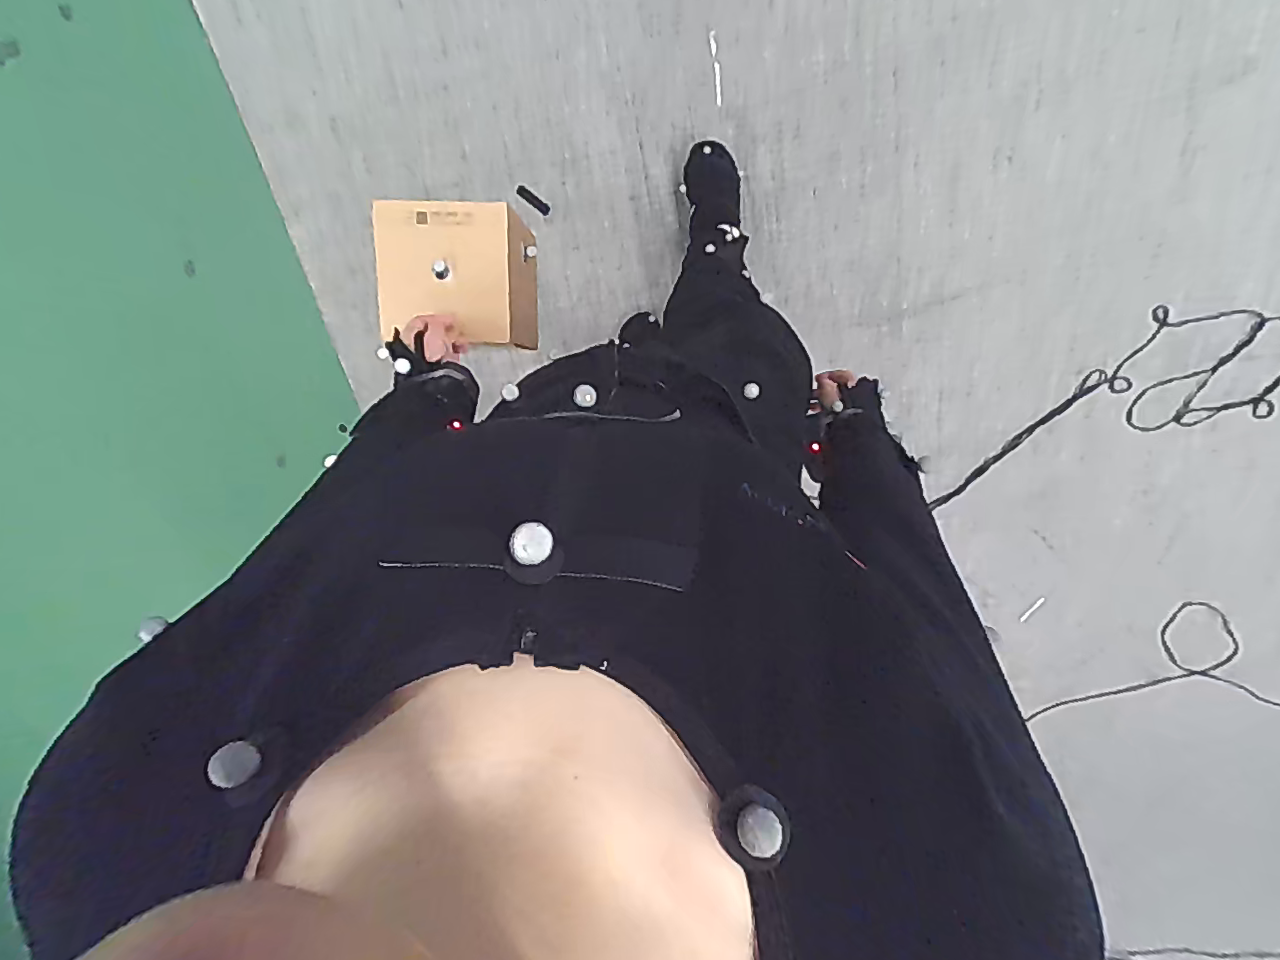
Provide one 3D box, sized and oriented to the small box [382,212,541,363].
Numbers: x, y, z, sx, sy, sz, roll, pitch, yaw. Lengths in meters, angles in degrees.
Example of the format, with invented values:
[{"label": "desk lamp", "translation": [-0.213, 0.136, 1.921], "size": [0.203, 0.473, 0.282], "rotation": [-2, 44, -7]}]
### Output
[{"label": "small box", "translation": [-0.238, -0.258, 0.750], "size": [0.168, 0.179, 0.176], "rotation": [0, 98, 1]}]
